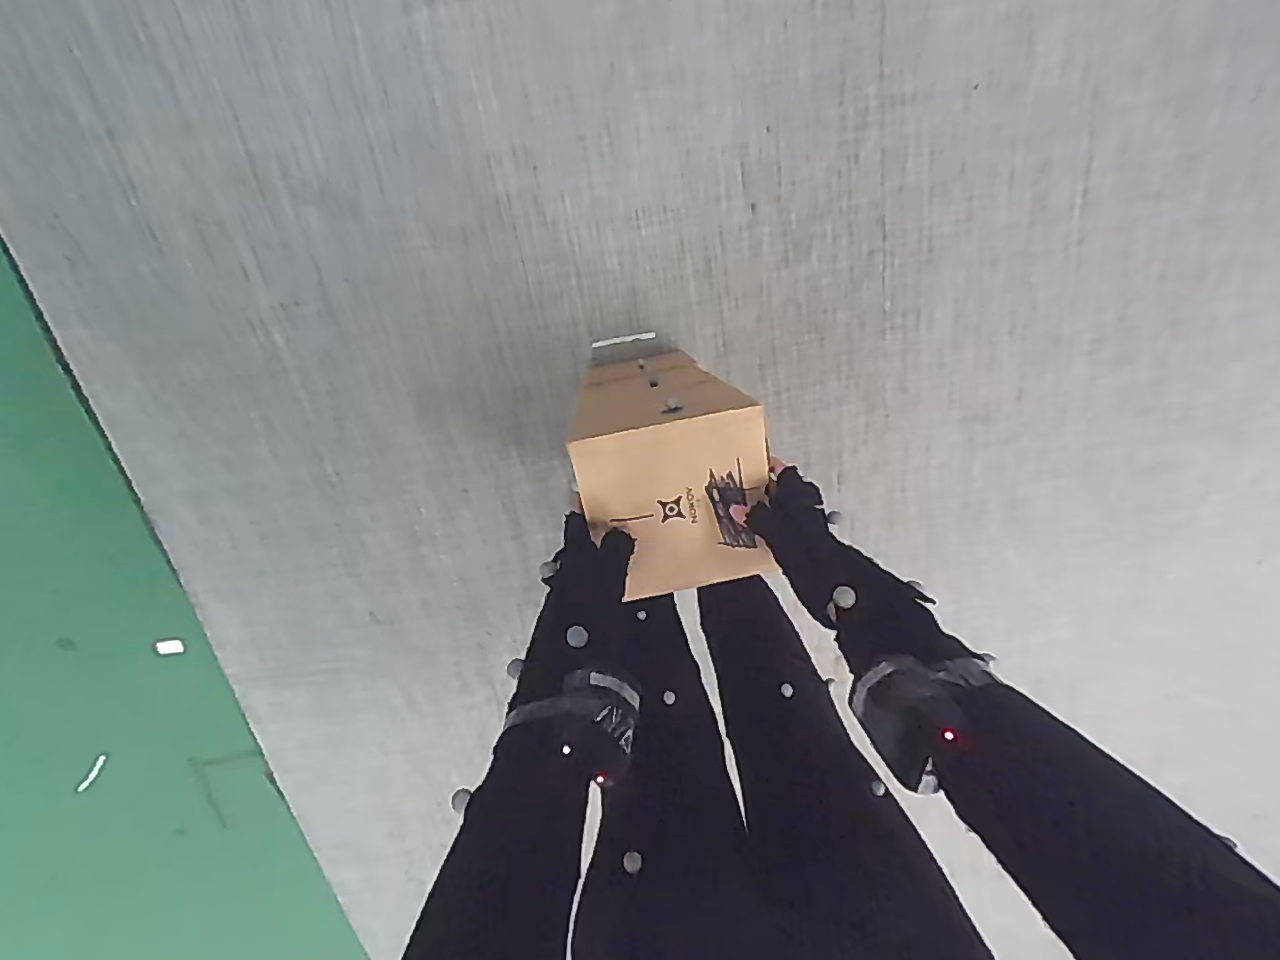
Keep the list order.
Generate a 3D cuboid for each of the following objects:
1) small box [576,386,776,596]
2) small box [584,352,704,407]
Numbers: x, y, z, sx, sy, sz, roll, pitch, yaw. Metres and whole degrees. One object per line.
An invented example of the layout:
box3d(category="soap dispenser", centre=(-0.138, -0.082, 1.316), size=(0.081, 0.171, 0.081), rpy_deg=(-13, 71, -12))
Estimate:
box3d(category="small box", centre=(0.031, -0.001, 0.573), size=(0.179, 0.176, 0.168), rpy_deg=(-8, 107, -2))
box3d(category="small box", centre=(0.012, -0.109, 0.885), size=(0.179, 0.176, 0.168), rpy_deg=(-11, 109, 1))
